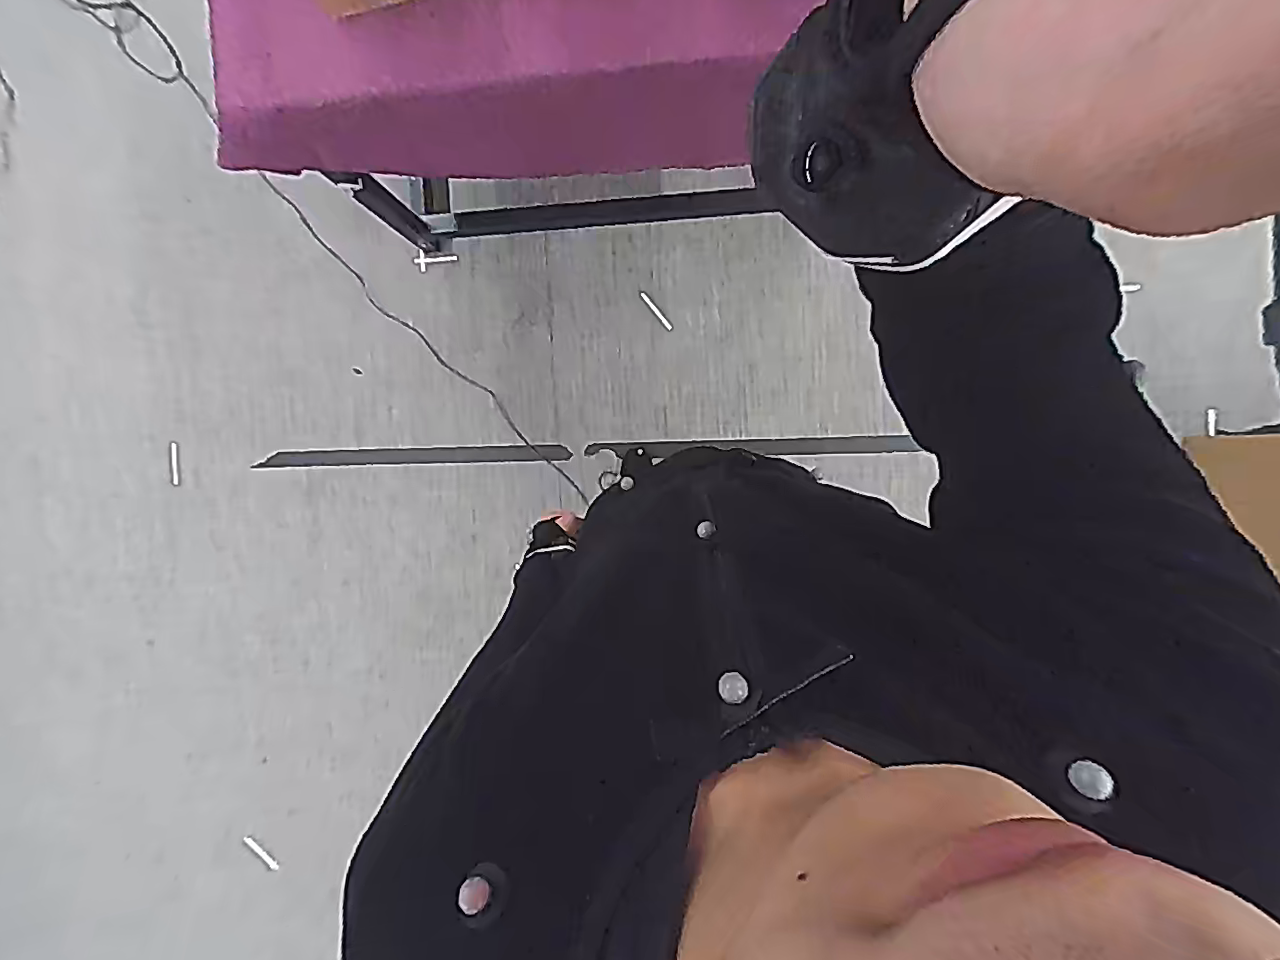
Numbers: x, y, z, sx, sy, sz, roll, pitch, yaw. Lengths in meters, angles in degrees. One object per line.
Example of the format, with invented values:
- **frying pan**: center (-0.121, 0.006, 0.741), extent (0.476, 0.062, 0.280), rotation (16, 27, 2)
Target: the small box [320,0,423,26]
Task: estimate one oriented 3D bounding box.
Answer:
- **small box**: center (-0.460, -0.866, 0.832), extent (0.168, 0.176, 0.179), rotation (-11, 91, 5)
